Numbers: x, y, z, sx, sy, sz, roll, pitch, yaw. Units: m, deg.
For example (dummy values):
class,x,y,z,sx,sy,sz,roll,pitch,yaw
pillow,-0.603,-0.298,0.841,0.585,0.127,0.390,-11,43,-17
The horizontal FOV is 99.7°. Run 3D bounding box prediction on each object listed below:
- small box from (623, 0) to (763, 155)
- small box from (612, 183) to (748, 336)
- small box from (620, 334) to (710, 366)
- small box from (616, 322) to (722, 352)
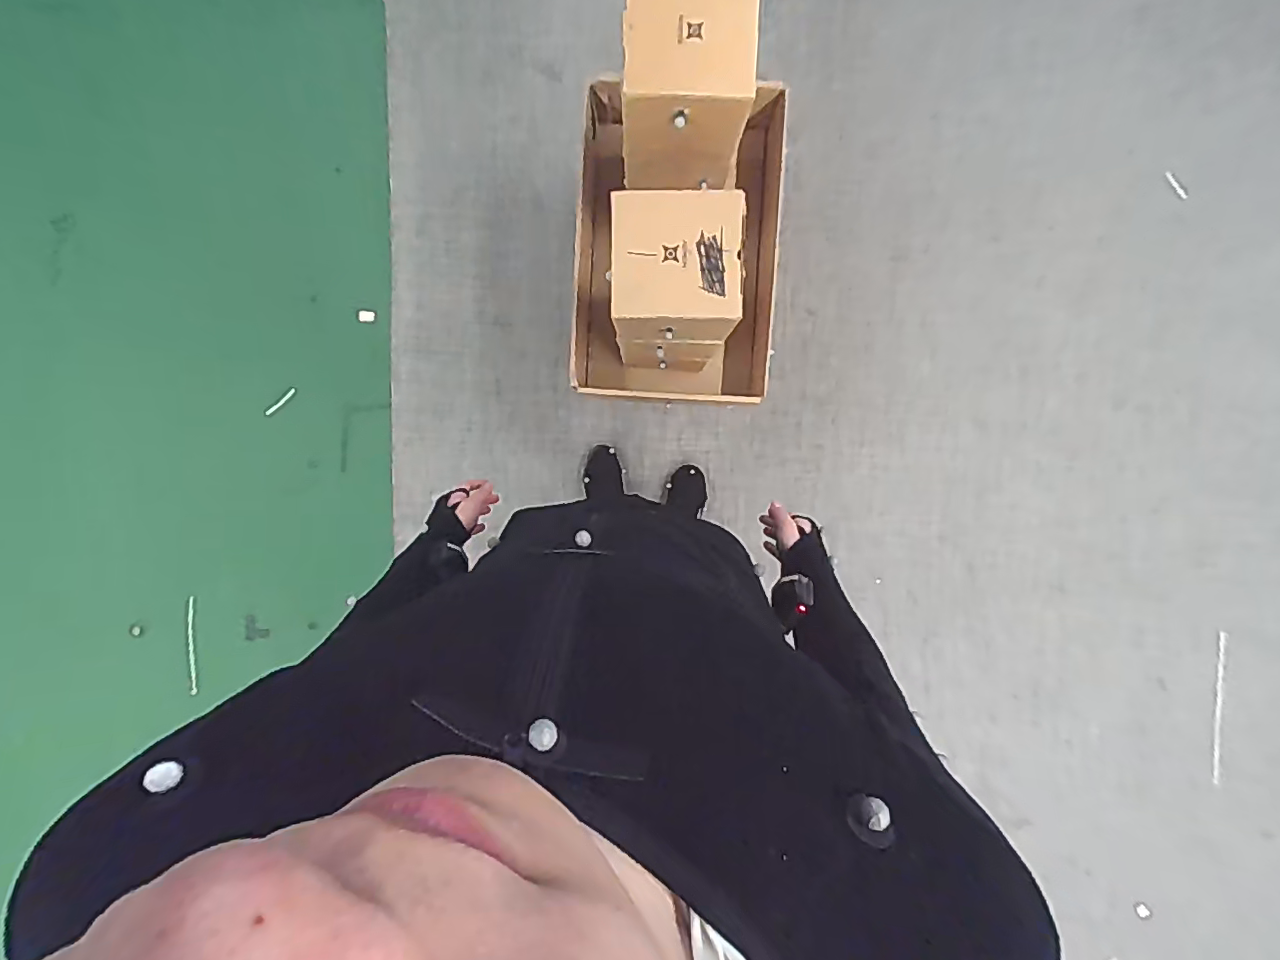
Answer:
class,x,y,z,sx,sy,sz,roll,pitch,yaw
small box,0.068,-0.586,0.765,0.179,0.176,0.168,2,95,0
small box,0.053,-0.308,0.785,0.179,0.176,0.168,1,95,1
small box,0.054,-0.332,1.113,0.179,0.176,0.168,4,95,-1
small box,0.053,-0.320,0.949,0.179,0.176,0.168,2,96,1
